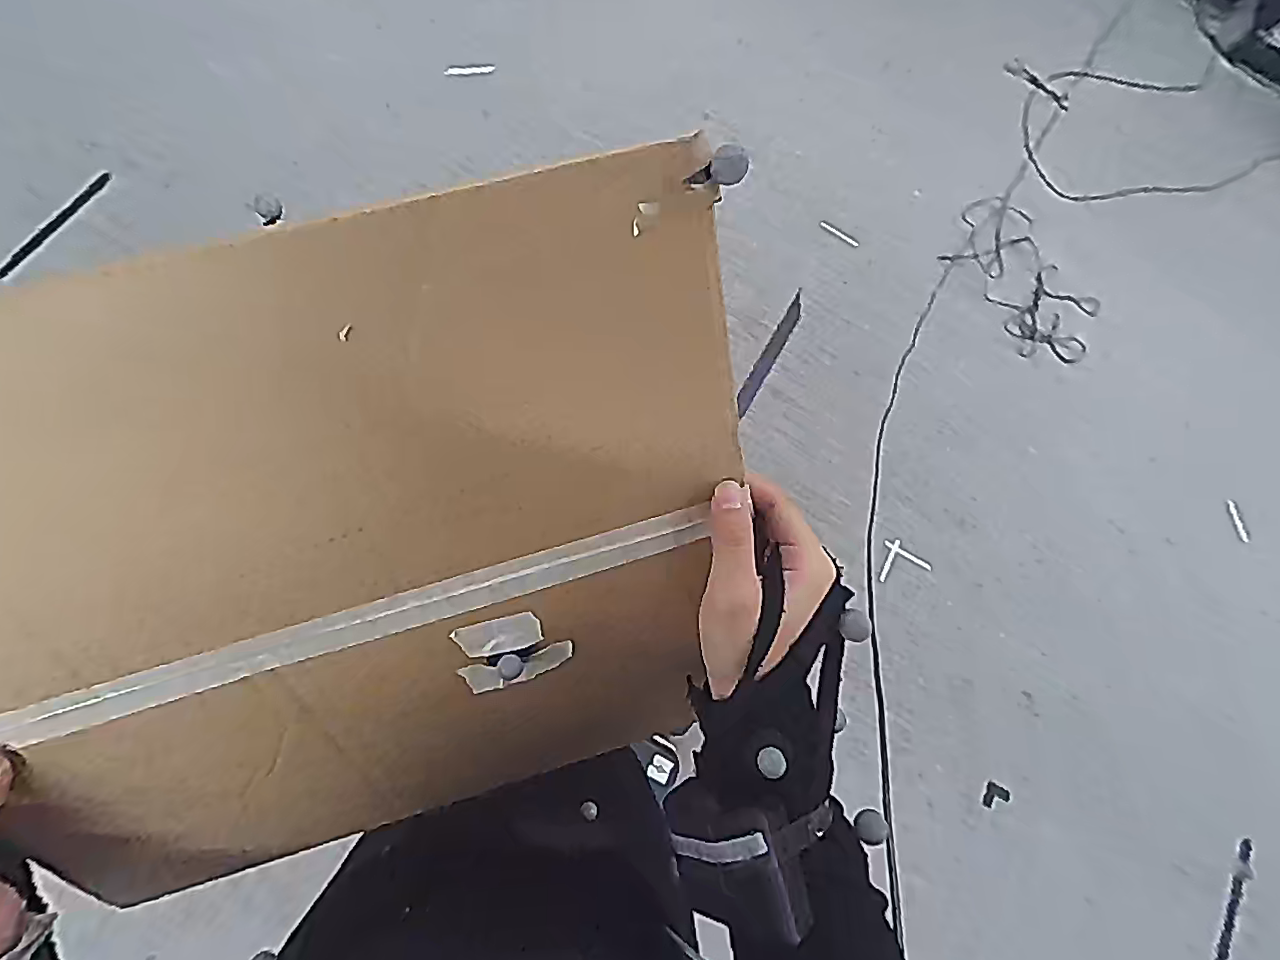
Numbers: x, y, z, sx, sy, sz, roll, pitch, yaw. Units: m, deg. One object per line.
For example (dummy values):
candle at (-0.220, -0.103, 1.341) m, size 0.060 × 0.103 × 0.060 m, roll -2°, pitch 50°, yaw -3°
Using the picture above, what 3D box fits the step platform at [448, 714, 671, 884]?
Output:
step platform at (-0.264, 0.561, 1.224) m, size 0.684 × 0.204 × 0.286 m, roll 37°, pitch 74°, yaw 3°
